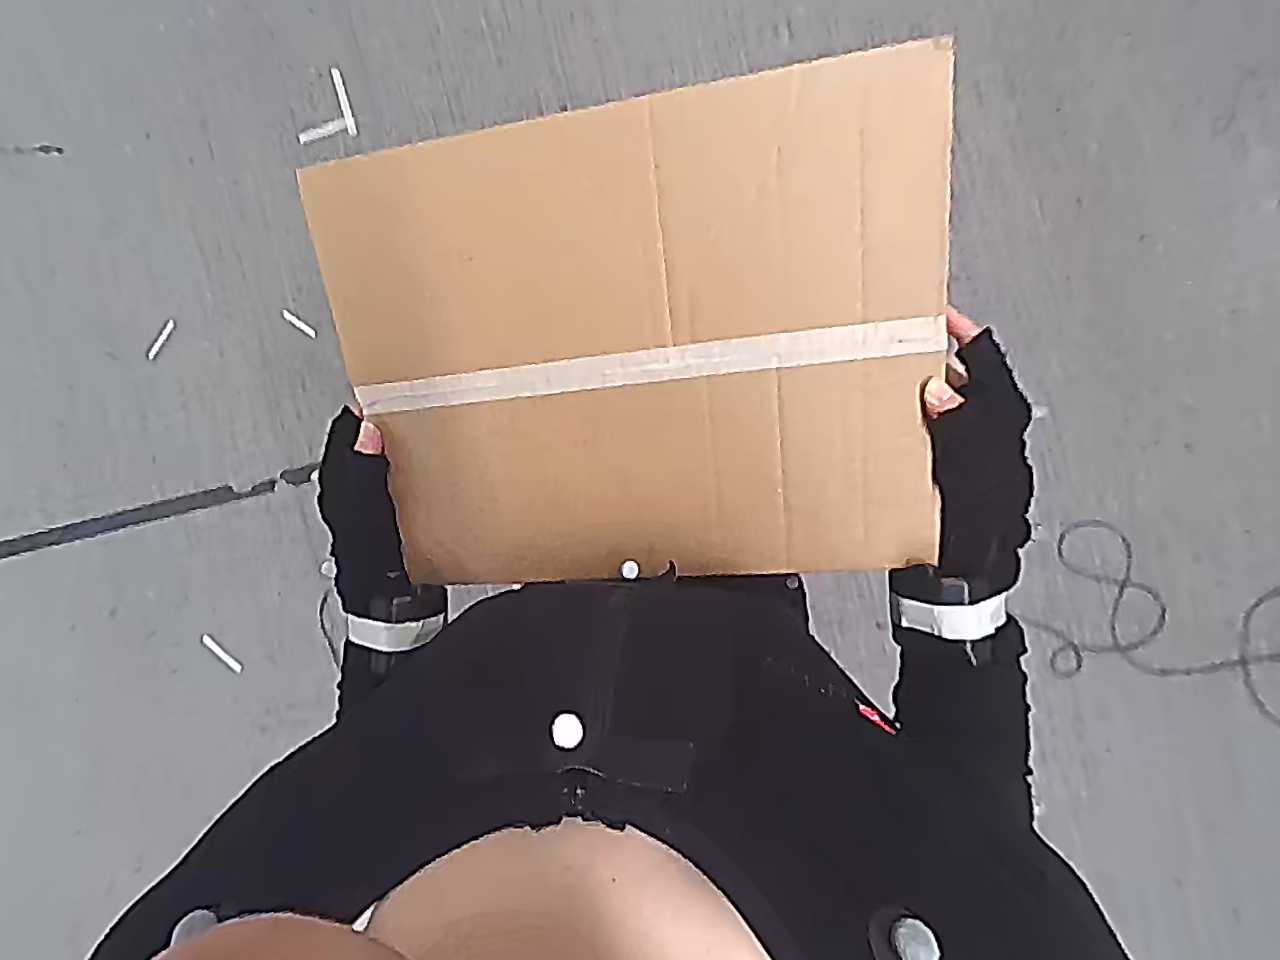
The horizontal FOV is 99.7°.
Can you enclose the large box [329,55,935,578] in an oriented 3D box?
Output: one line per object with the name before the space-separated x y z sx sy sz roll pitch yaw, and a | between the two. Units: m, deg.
large box | 0.014 -0.121 0.523 0.408 0.320 0.320 -4 108 11
